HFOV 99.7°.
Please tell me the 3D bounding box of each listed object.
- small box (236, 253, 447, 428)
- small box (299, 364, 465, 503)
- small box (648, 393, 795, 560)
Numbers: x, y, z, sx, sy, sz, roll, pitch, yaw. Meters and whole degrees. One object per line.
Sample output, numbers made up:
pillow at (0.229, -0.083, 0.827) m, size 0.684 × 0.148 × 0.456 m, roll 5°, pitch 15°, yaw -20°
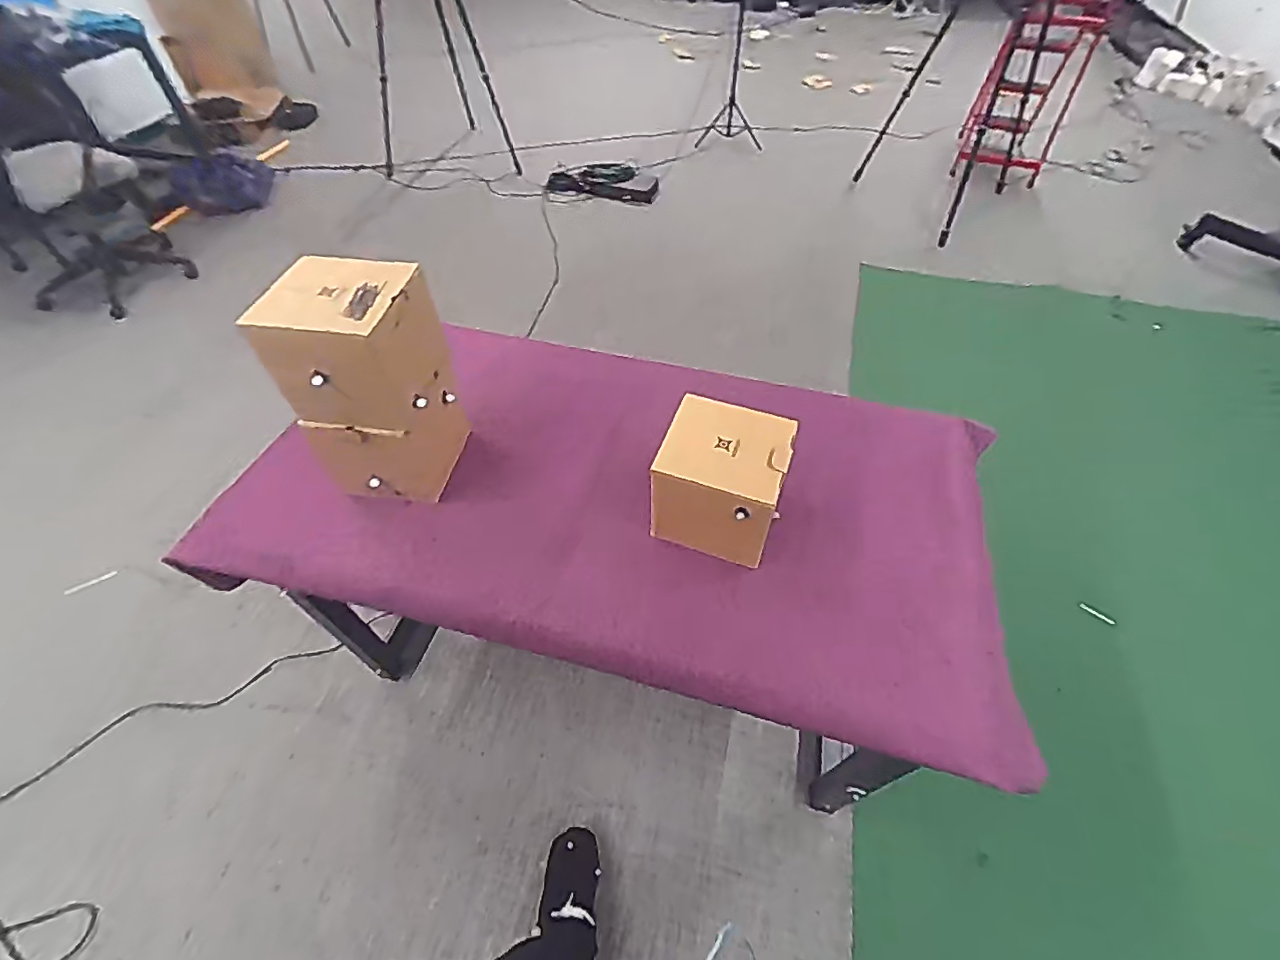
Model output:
small box at (-0.399, -0.194, 0.765) m, size 0.179 × 0.176 × 0.168 m, roll 9°, pitch 50°, yaw 6°
small box at (-0.406, -0.088, 0.894) m, size 0.168 × 0.176 × 0.179 m, roll 6°, pitch 52°, yaw 6°
small box at (0.119, -0.001, 0.825) m, size 0.179 × 0.176 × 0.168 m, roll 16°, pitch 54°, yaw 13°
